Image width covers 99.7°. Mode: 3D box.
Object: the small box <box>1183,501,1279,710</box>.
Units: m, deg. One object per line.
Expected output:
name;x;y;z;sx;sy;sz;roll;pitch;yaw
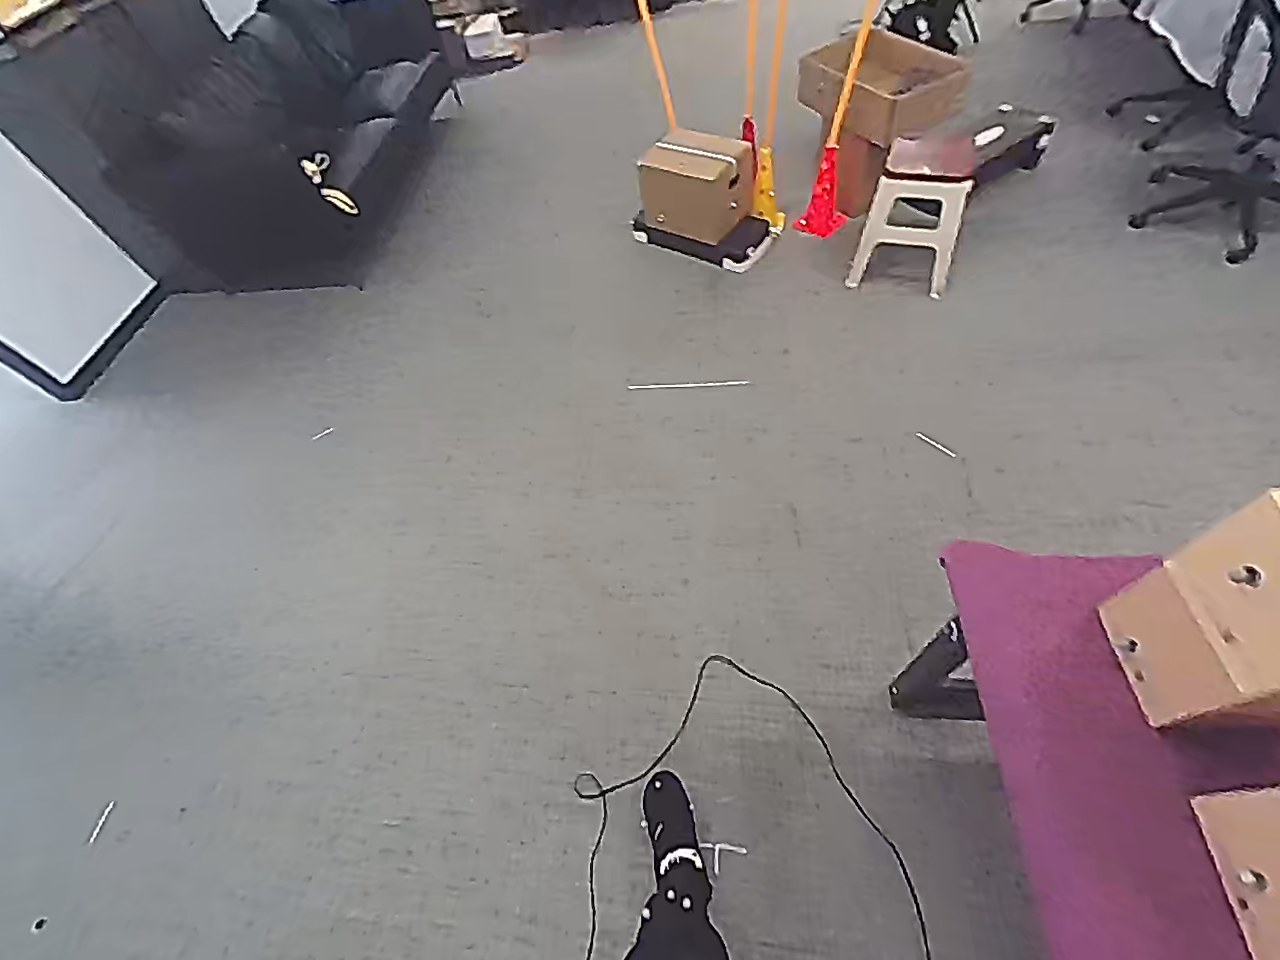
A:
small box;0.717;0.128;0.543;0.179;0.176;0.168;-3;55;7

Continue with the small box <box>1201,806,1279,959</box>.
small box;0.740;0.425;0.532;0.179;0.176;0.168;0;56;11

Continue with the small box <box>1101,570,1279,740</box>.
small box;0.744;0.219;0.674;0.179;0.176;0.168;-4;55;8
